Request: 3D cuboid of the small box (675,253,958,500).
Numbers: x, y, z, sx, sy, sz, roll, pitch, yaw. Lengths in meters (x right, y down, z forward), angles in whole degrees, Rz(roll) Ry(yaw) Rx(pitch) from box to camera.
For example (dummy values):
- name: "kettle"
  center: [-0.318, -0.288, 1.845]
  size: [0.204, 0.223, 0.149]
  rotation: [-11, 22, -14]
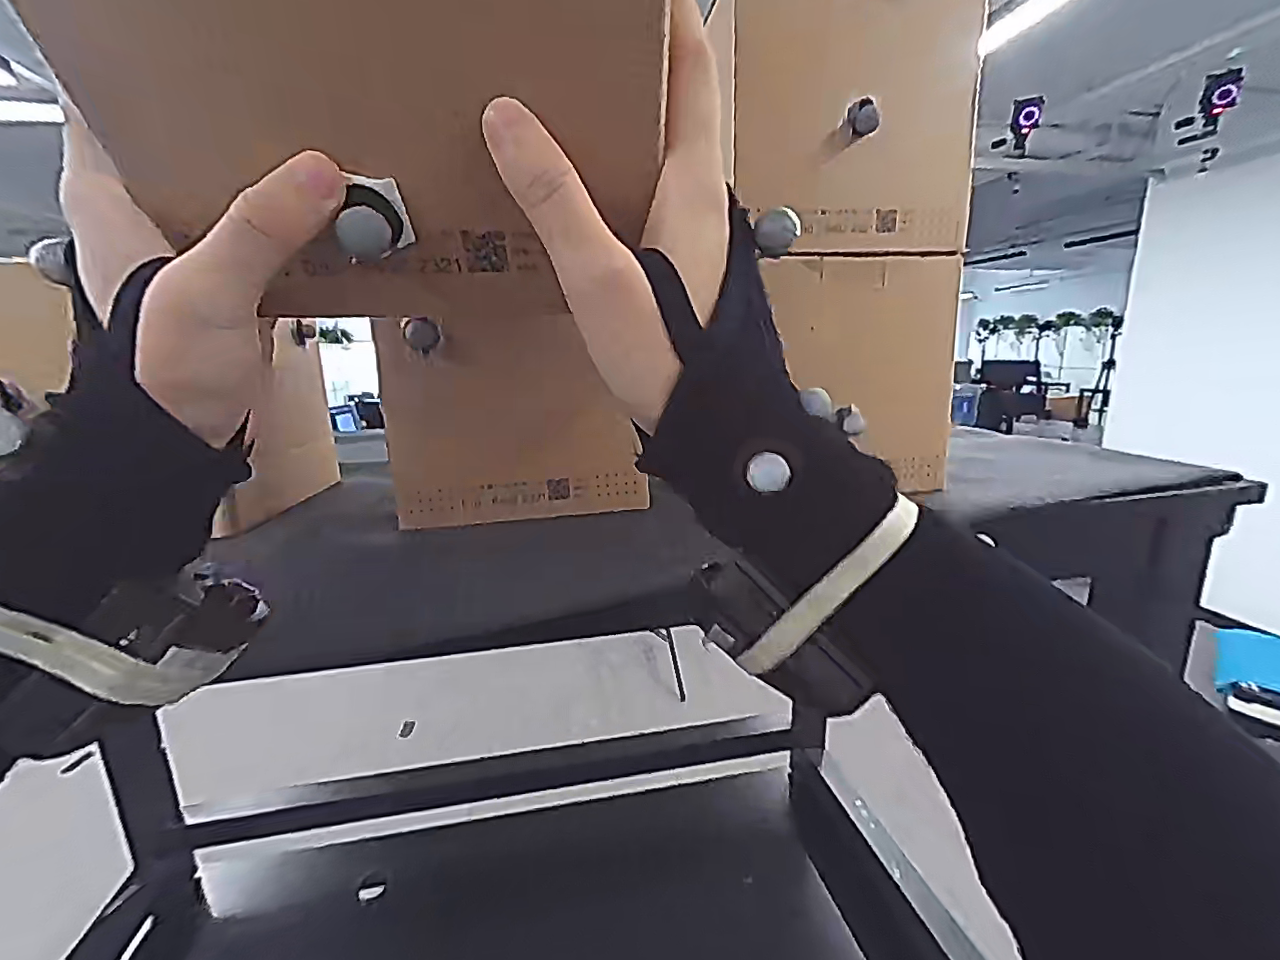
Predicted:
- name: "small box"
  center: [0.128, -0.085, 0.456]
  size: [0.168, 0.176, 0.179]
  rotation: [-6, 13, -9]

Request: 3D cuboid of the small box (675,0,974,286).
- name: "small box"
  center: [0.124, -0.246, 0.421]
  size: [0.168, 0.176, 0.179]
  rotation: [-4, 13, -9]

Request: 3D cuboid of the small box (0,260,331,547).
- name: "small box"
  center: [-0.347, -0.053, 0.390]
  size: [0.168, 0.176, 0.179]
  rotation: [-3, 12, -8]
